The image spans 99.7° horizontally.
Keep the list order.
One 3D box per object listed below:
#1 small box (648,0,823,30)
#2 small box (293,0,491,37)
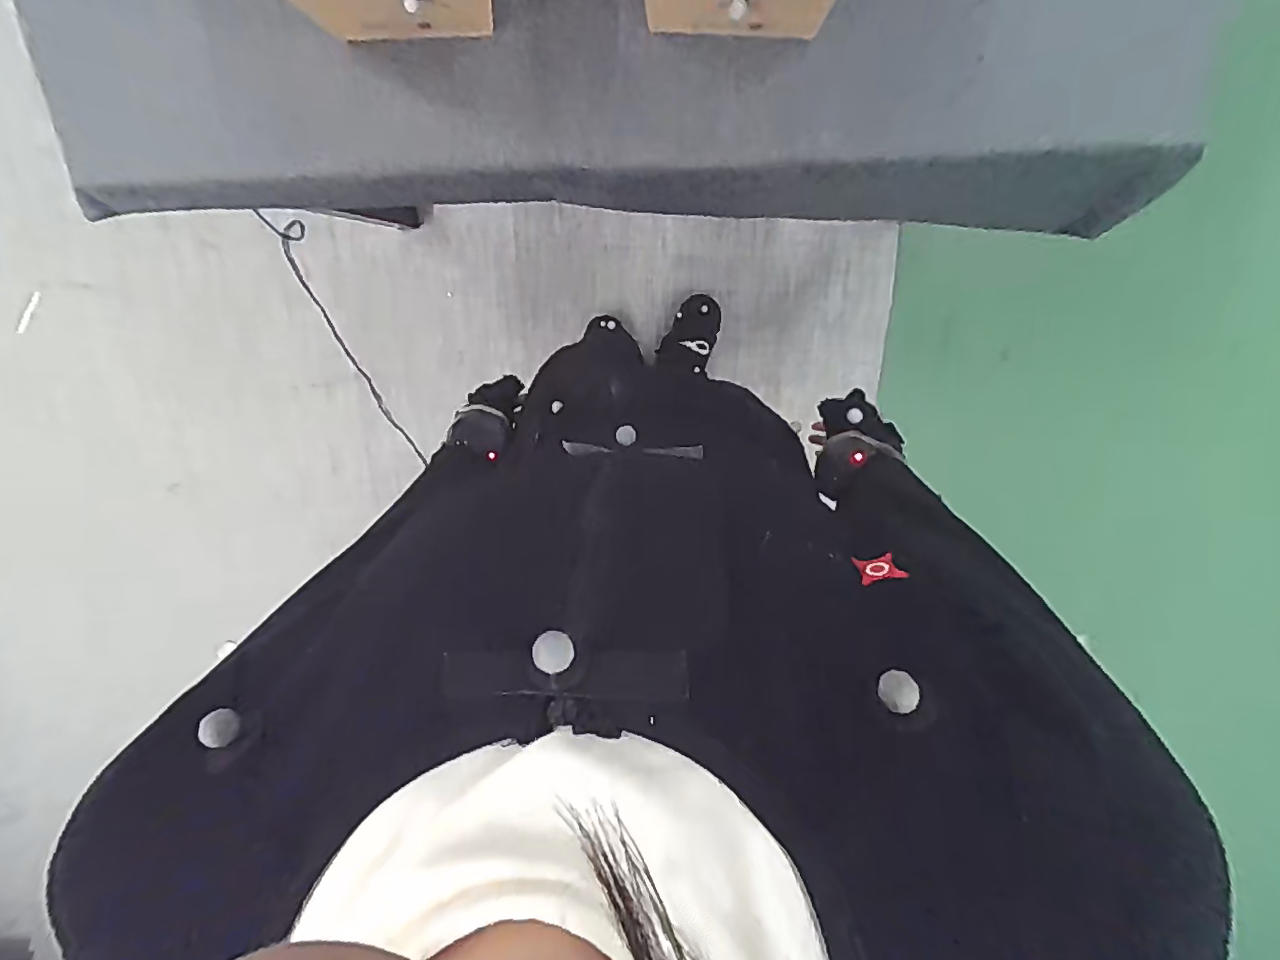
[{"bbox_3d":[0.087,-0.496,0.431,0.168,0.176,0.179,4,111,4],"label":"small box"},{"bbox_3d":[-0.236,-0.510,0.459,0.168,0.176,0.179,0,109,4],"label":"small box"}]
